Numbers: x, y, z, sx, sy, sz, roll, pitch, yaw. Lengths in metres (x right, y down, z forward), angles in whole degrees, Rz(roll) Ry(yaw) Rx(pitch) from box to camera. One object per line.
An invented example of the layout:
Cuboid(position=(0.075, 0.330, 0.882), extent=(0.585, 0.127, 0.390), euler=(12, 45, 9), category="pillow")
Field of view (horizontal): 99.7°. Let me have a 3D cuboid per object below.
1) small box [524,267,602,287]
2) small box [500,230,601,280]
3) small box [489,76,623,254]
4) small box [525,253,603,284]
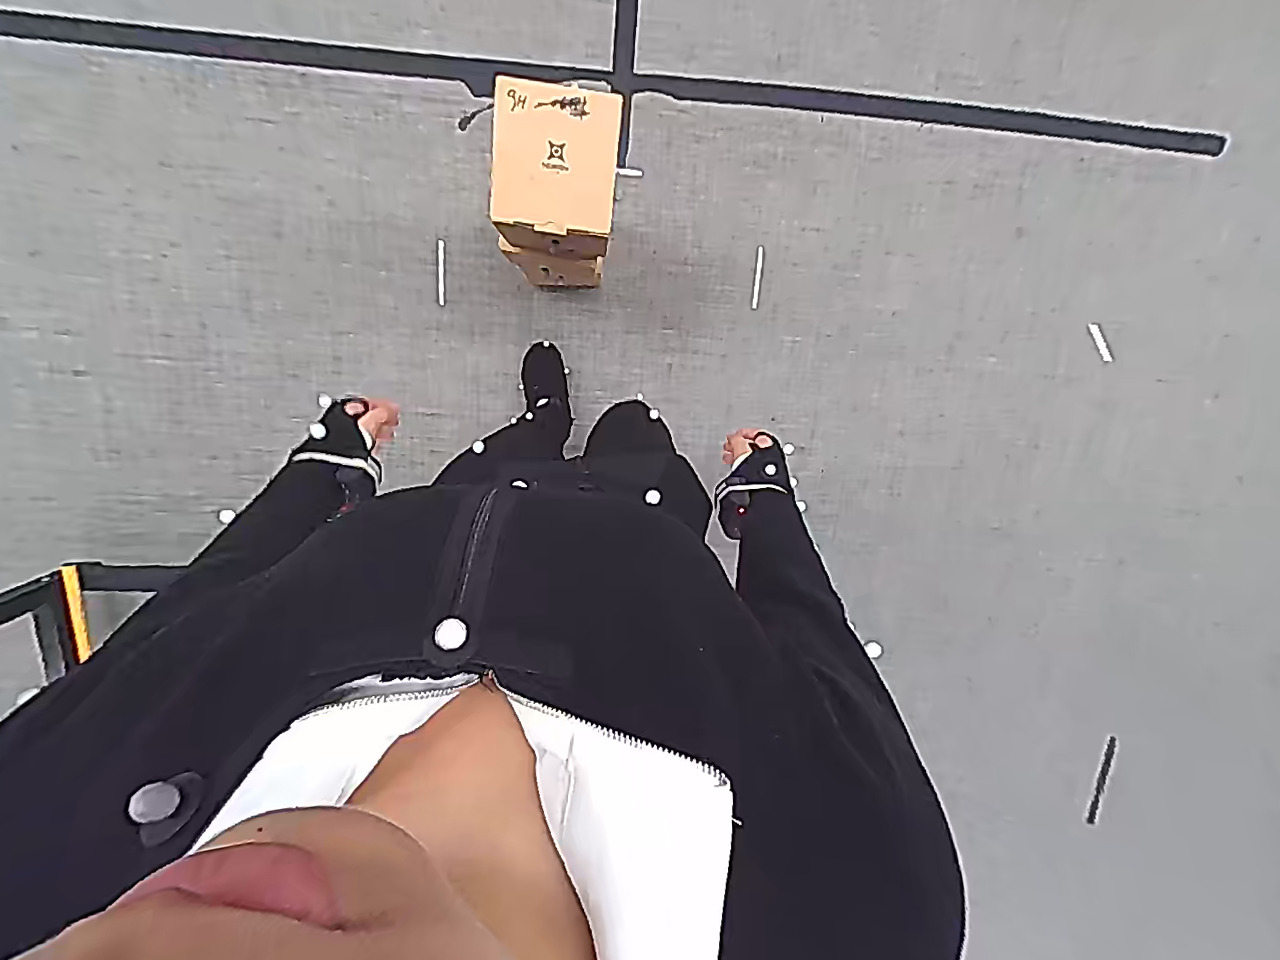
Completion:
Cuboid(position=(-0.177, -0.547, 1.264), extent=(0.179, 0.176, 0.168), euler=(-1, 104, -6), category="small box")
Cuboid(position=(-0.143, -0.465, 0.950), extent=(0.168, 0.176, 0.179), euler=(8, 104, -6), category="small box")
Cuboid(position=(-0.117, -0.440, 0.788), extent=(0.168, 0.176, 0.179), euler=(6, 103, -6), category="small box")
Cuboid(position=(-0.156, -0.509, 1.105), extent=(0.168, 0.176, 0.179), euler=(3, 104, -6), category="small box")
